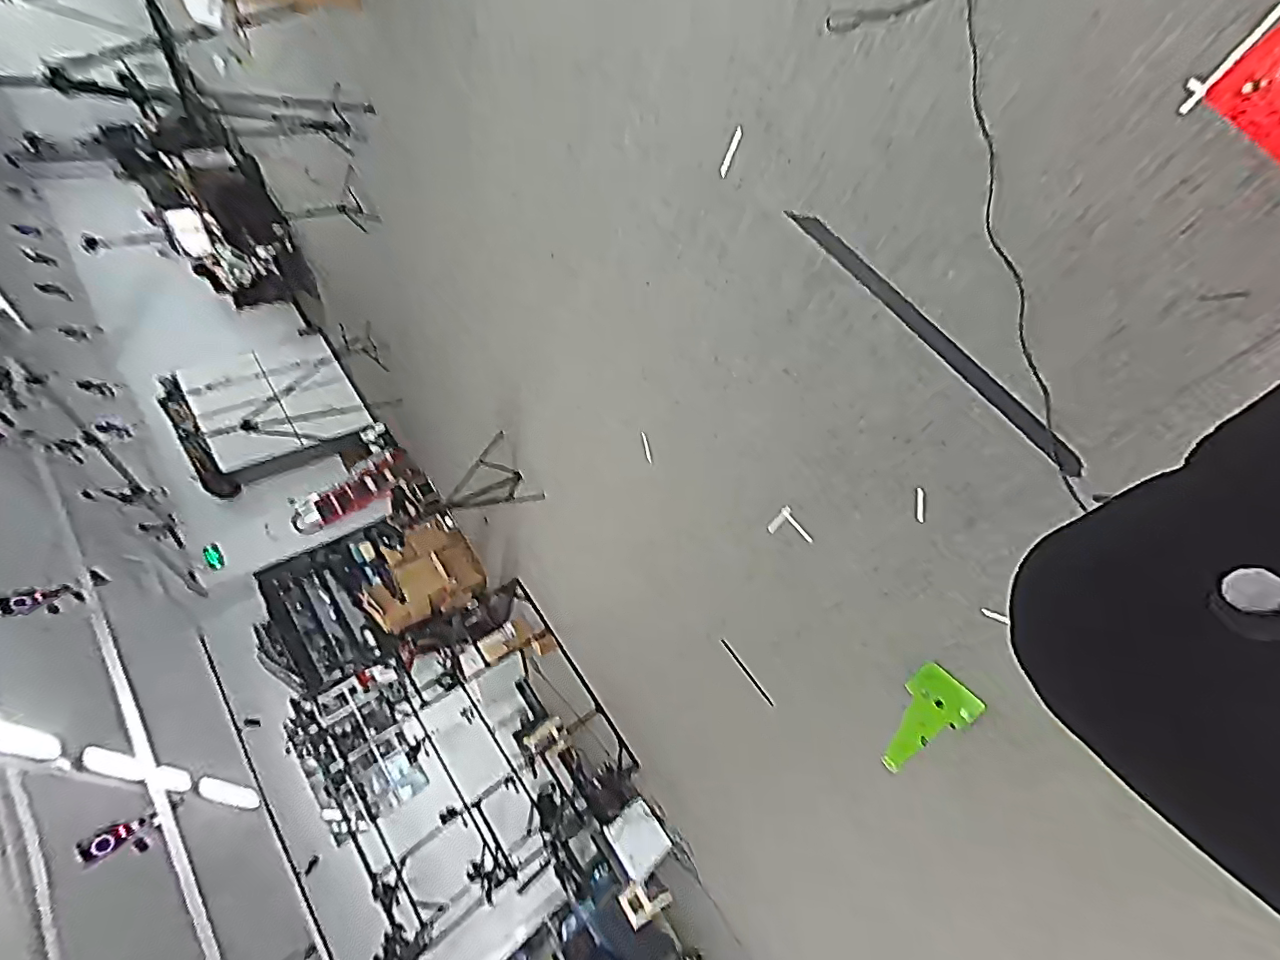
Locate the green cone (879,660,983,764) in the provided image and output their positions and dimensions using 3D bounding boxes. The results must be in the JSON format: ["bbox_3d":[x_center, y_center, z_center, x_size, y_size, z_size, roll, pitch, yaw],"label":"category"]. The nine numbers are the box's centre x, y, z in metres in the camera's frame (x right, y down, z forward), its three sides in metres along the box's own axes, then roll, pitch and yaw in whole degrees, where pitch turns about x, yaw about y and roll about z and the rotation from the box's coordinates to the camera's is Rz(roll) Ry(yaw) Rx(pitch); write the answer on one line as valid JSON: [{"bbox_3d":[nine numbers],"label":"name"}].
[{"bbox_3d":[0.892,0.786,1.740,0.202,0.368,0.200,43,143,31],"label":"green cone"}]

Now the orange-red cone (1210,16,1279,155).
[{"bbox_3d":[0.896,-0.555,0.715,0.199,0.360,0.198,55,149,10],"label":"orange-red cone"}]
